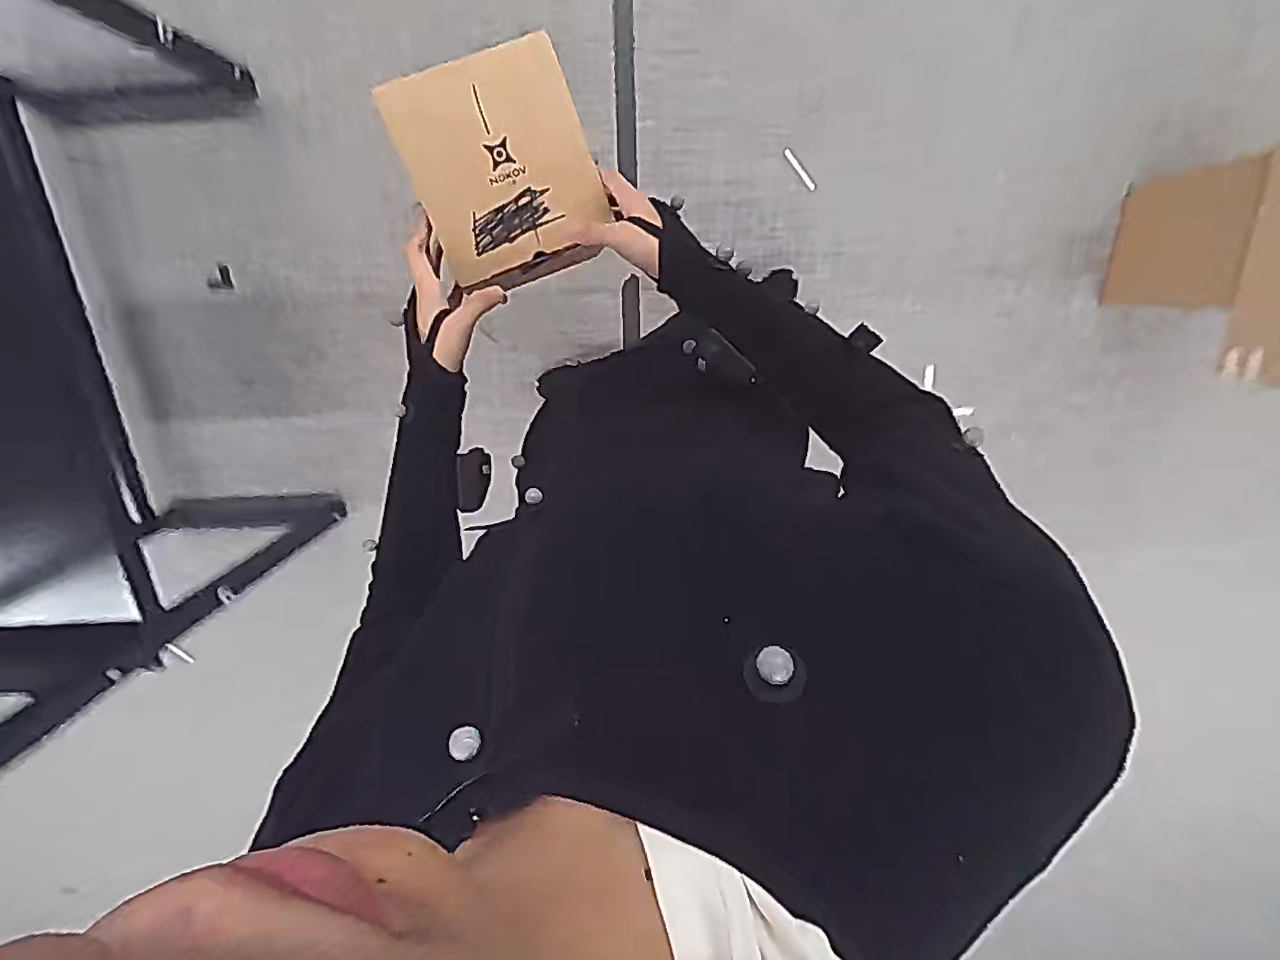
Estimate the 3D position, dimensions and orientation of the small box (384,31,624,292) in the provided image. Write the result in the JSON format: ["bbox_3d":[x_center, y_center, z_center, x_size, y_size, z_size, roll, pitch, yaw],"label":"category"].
[{"bbox_3d":[-0.131,-0.307,0.566,0.168,0.176,0.179,-23,107,-6],"label":"small box"}]
